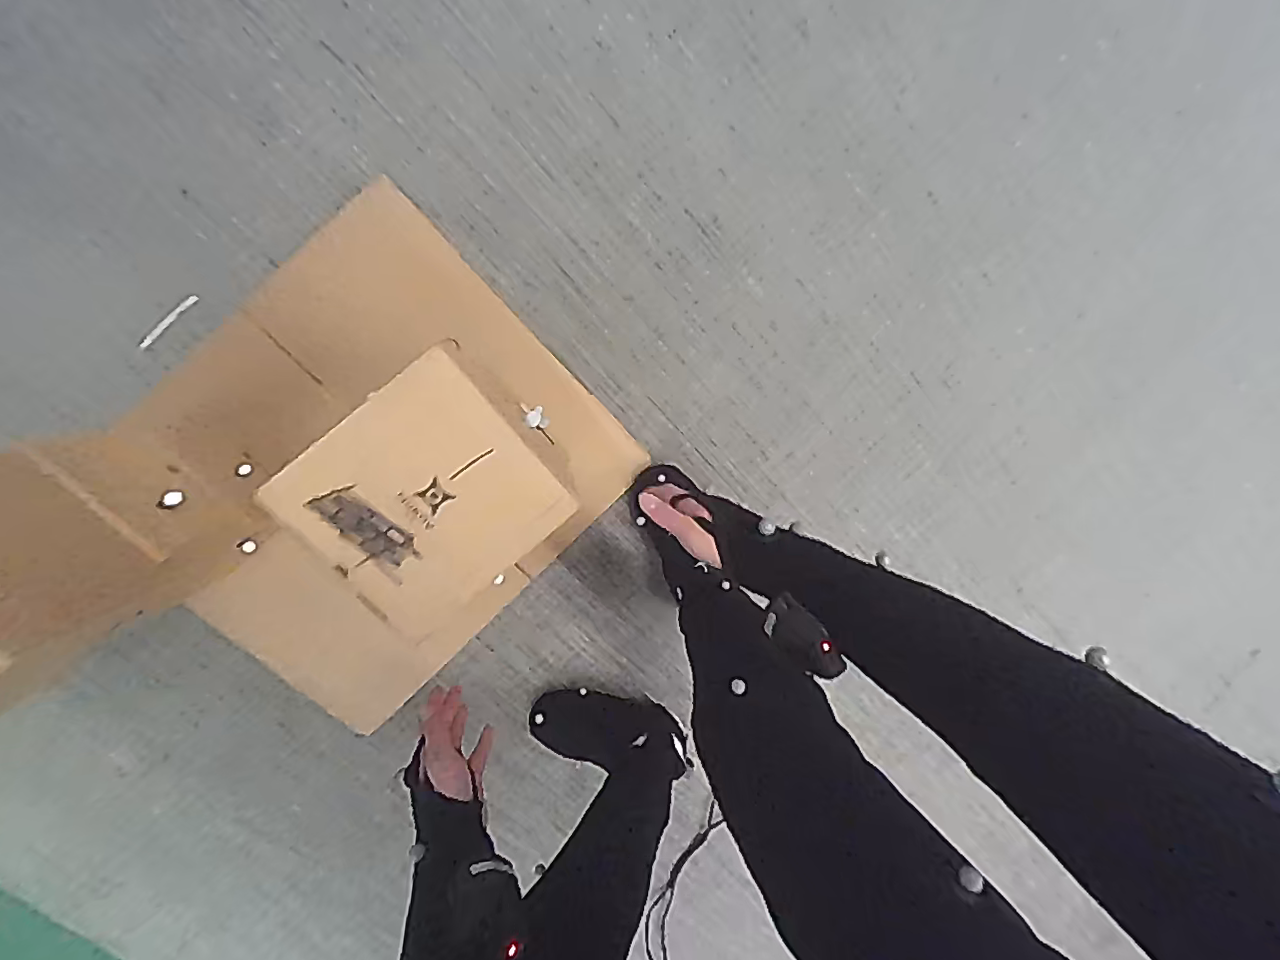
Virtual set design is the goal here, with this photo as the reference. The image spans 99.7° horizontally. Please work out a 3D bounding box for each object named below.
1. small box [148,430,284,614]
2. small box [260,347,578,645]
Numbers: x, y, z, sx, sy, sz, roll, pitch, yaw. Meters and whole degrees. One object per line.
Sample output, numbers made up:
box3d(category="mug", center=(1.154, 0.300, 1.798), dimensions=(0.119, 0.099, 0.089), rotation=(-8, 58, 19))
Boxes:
box3d(category="small box", center=(-0.623, 0.045, 0.754), dimensions=(0.179, 0.176, 0.168), rotation=(-43, 102, 0))
box3d(category="small box", center=(-0.173, 0.004, 0.486), dimensions=(0.179, 0.176, 0.168), rotation=(-40, 104, -1))
